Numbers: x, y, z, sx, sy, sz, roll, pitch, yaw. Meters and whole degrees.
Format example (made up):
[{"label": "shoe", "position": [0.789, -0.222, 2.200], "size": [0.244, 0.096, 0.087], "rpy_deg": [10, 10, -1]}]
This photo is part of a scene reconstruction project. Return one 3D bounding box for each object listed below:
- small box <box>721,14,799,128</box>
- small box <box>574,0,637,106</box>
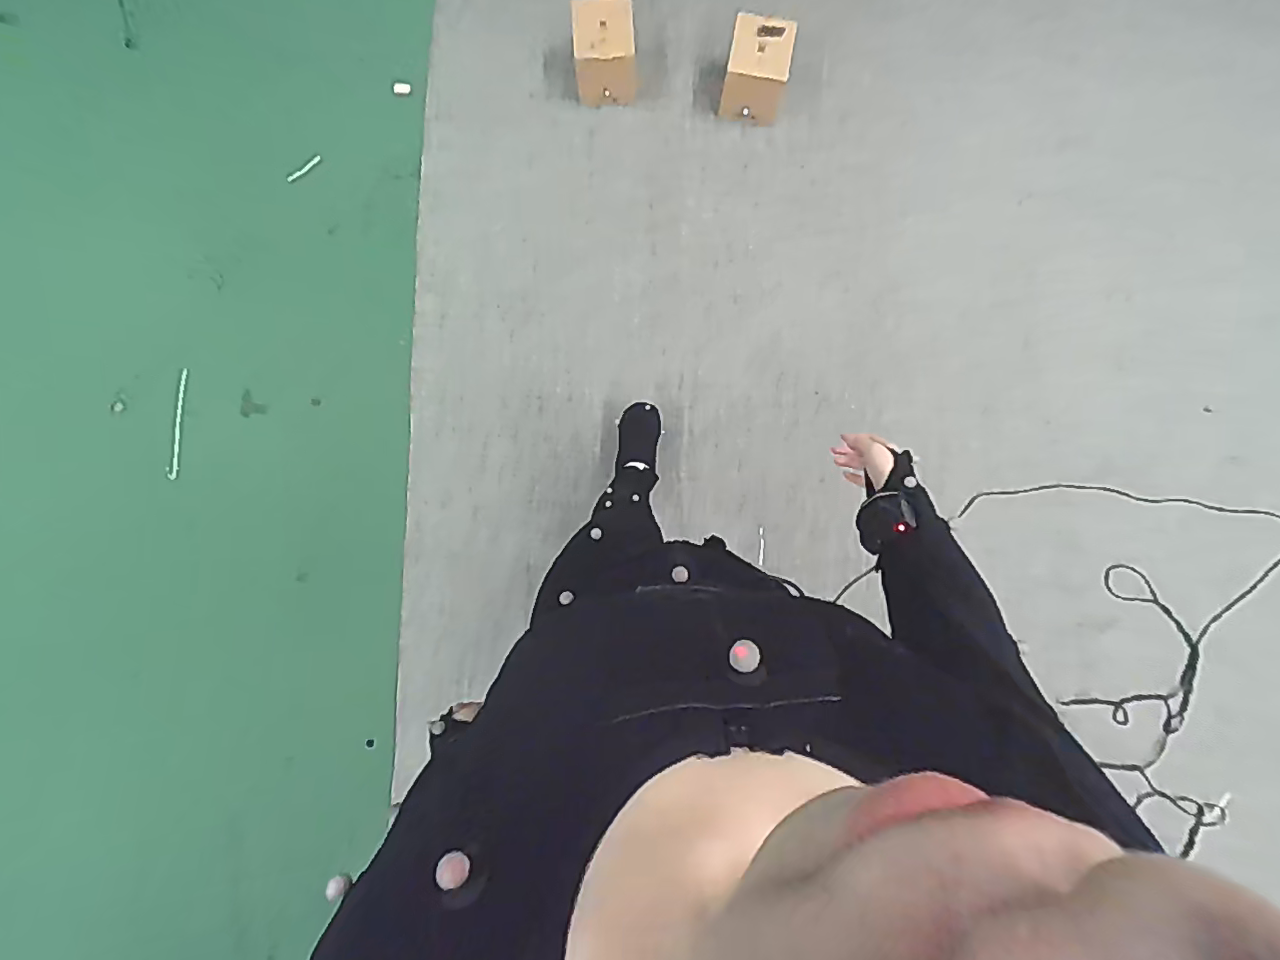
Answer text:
[{"label": "small box", "position": [0.330, -1.140, 1.518], "size": [0.168, 0.176, 0.179], "rpy_deg": [11, 86, 1]}, {"label": "small box", "position": [-0.095, -1.197, 1.521], "size": [0.168, 0.176, 0.179], "rpy_deg": [-3, 85, 0]}]
